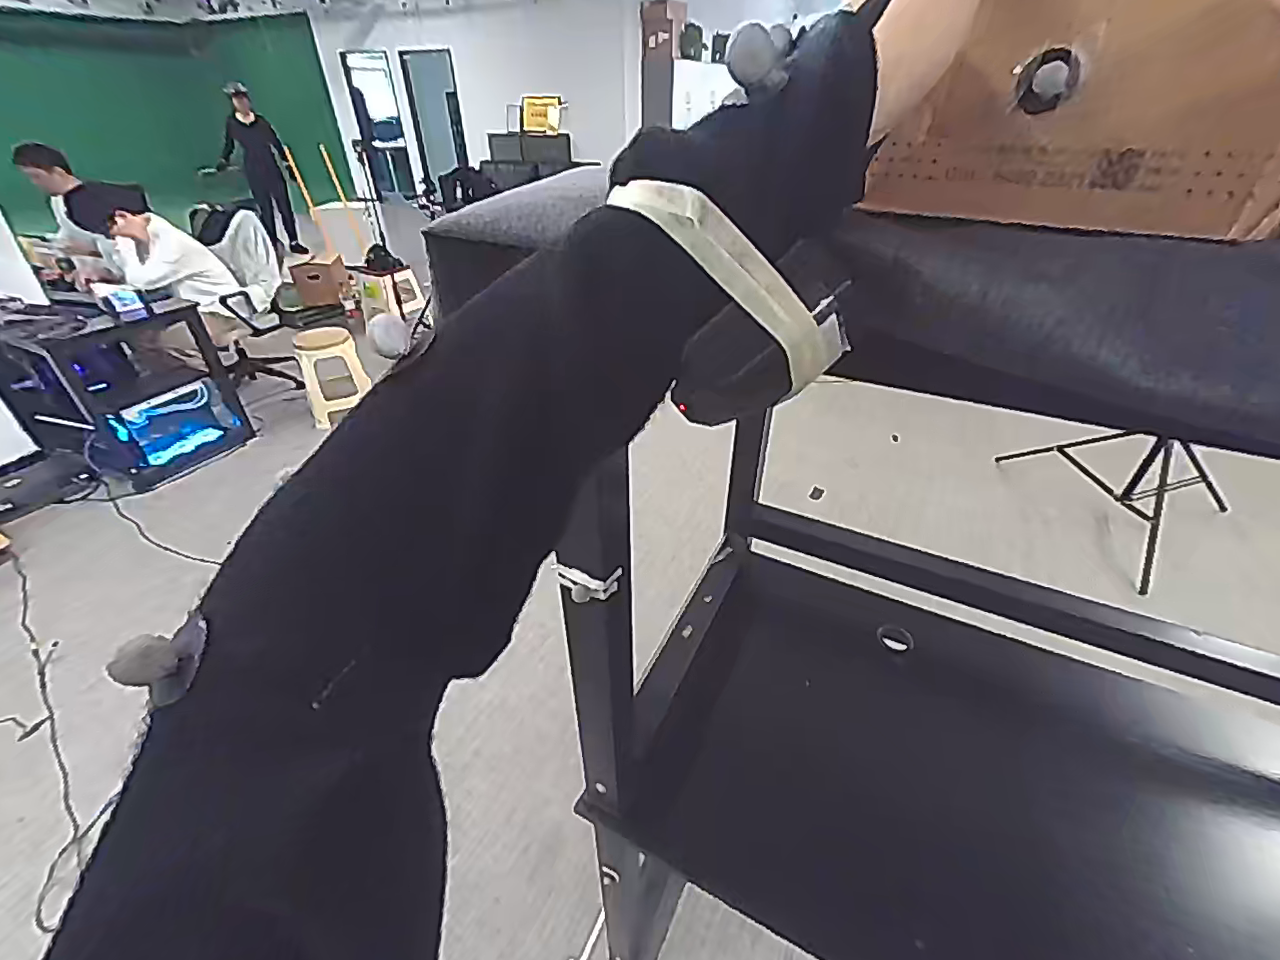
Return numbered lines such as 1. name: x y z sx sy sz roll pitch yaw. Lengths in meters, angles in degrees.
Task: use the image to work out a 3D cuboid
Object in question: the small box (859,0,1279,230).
1. small box: 0.217 -0.228 0.258 0.168 0.176 0.179 16 36 21
